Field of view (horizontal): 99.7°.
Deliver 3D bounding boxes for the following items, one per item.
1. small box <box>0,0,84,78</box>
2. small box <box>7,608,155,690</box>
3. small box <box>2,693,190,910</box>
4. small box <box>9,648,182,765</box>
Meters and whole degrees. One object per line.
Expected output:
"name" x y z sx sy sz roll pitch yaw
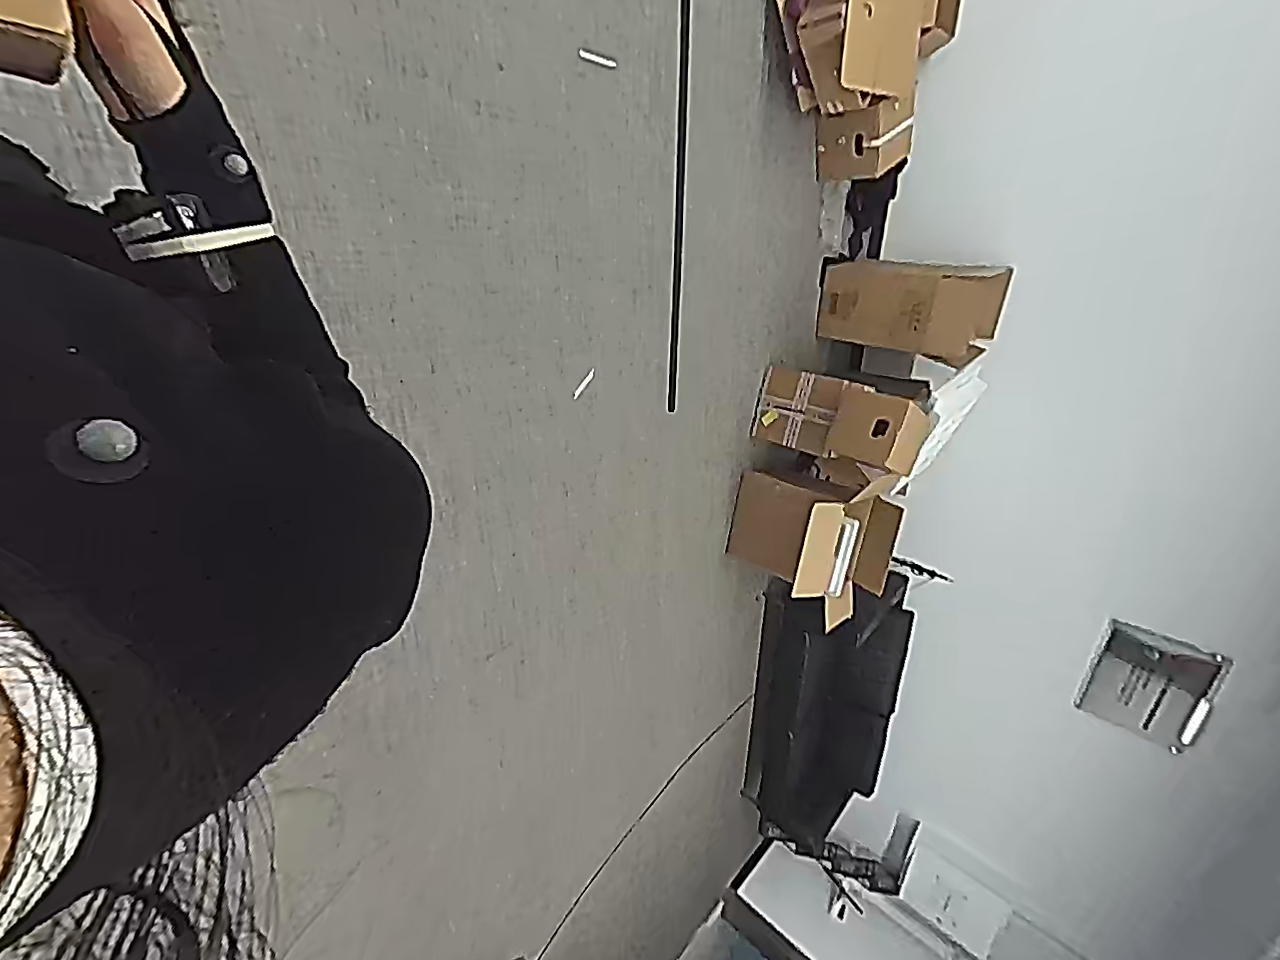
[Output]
"small box" -0.356 -0.286 0.210 0.168 0.176 0.179 -16 123 -45
"small box" -1.030 0.361 1.005 0.179 0.176 0.168 -10 113 -48
"small box" -0.797 0.456 0.798 0.168 0.176 0.179 -15 116 -47
"small box" -0.910 0.412 0.909 0.179 0.176 0.168 -14 115 -46
